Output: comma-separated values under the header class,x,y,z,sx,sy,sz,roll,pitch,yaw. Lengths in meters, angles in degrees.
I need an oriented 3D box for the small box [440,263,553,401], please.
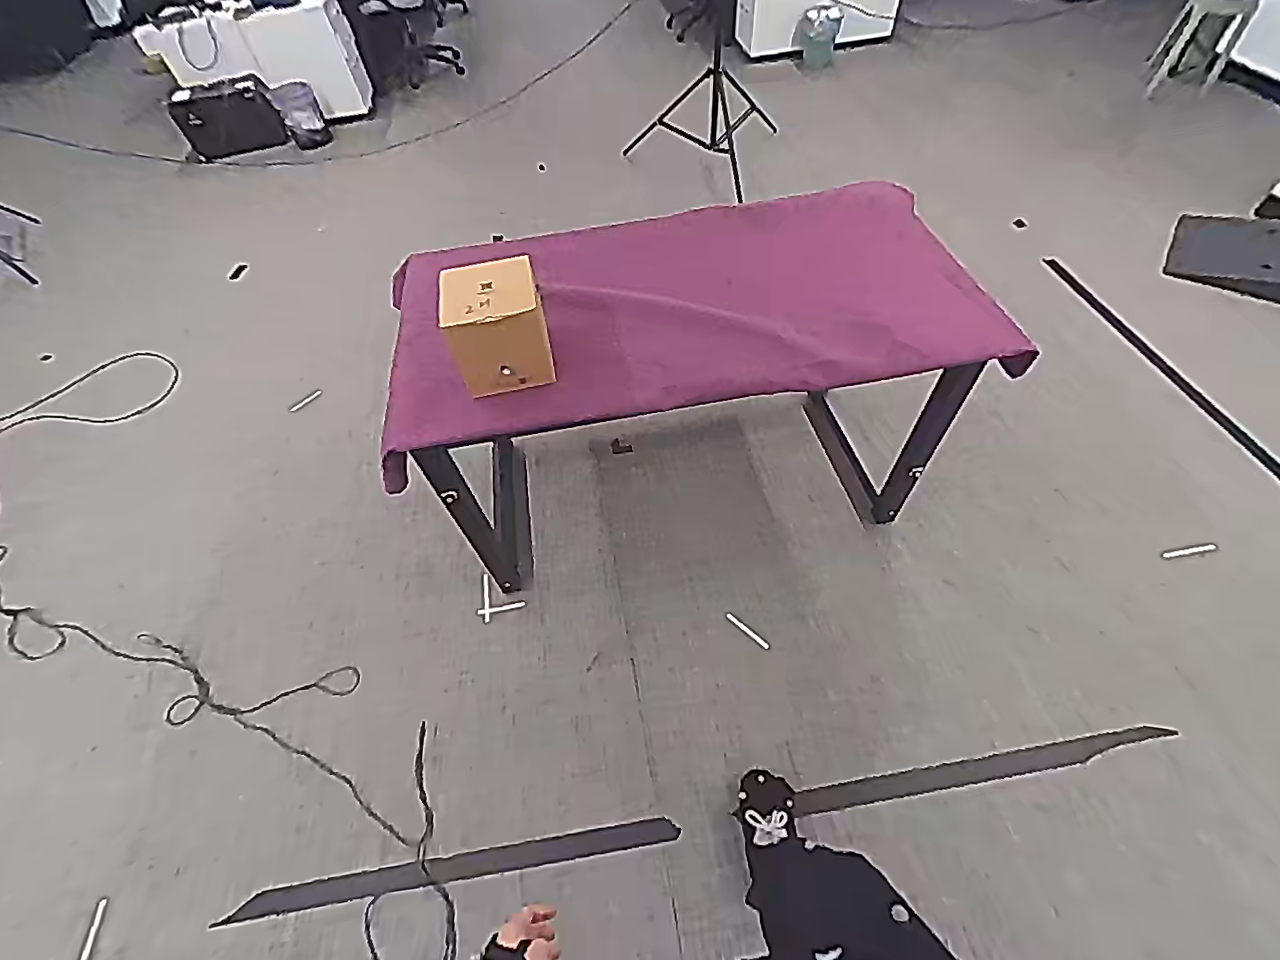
class,x,y,z,sx,sy,sz,roll,pitch,yaw
small box,-0.268,-0.278,1.025,0.168,0.176,0.179,-12,54,-4
